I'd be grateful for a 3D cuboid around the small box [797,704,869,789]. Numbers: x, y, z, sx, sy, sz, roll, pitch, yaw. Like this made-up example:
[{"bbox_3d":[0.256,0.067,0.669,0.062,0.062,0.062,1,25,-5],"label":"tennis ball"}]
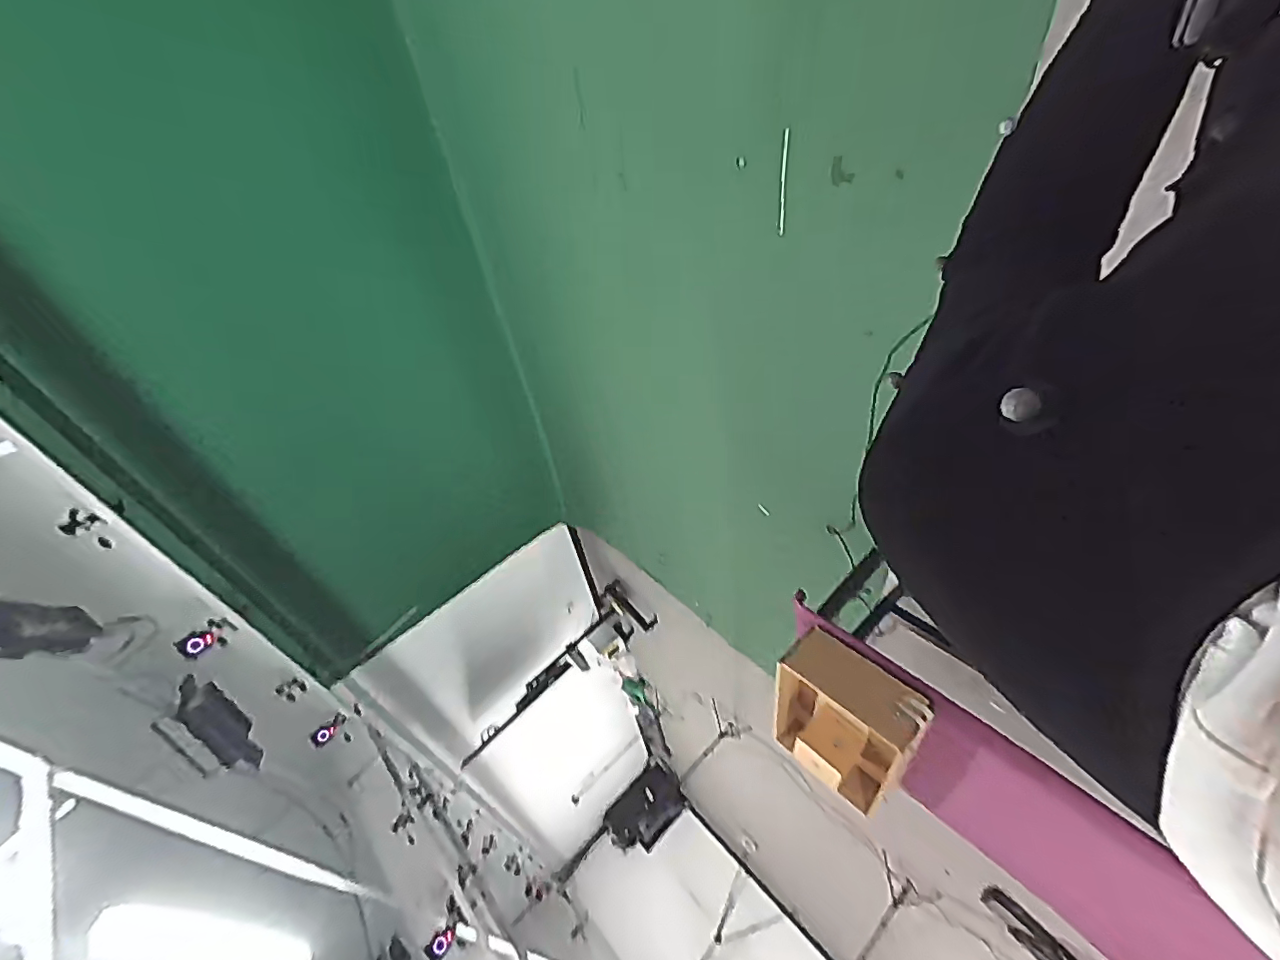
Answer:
[{"bbox_3d":[0.664,0.911,1.860,0.168,0.176,0.179,32,147,34],"label":"small box"}]
